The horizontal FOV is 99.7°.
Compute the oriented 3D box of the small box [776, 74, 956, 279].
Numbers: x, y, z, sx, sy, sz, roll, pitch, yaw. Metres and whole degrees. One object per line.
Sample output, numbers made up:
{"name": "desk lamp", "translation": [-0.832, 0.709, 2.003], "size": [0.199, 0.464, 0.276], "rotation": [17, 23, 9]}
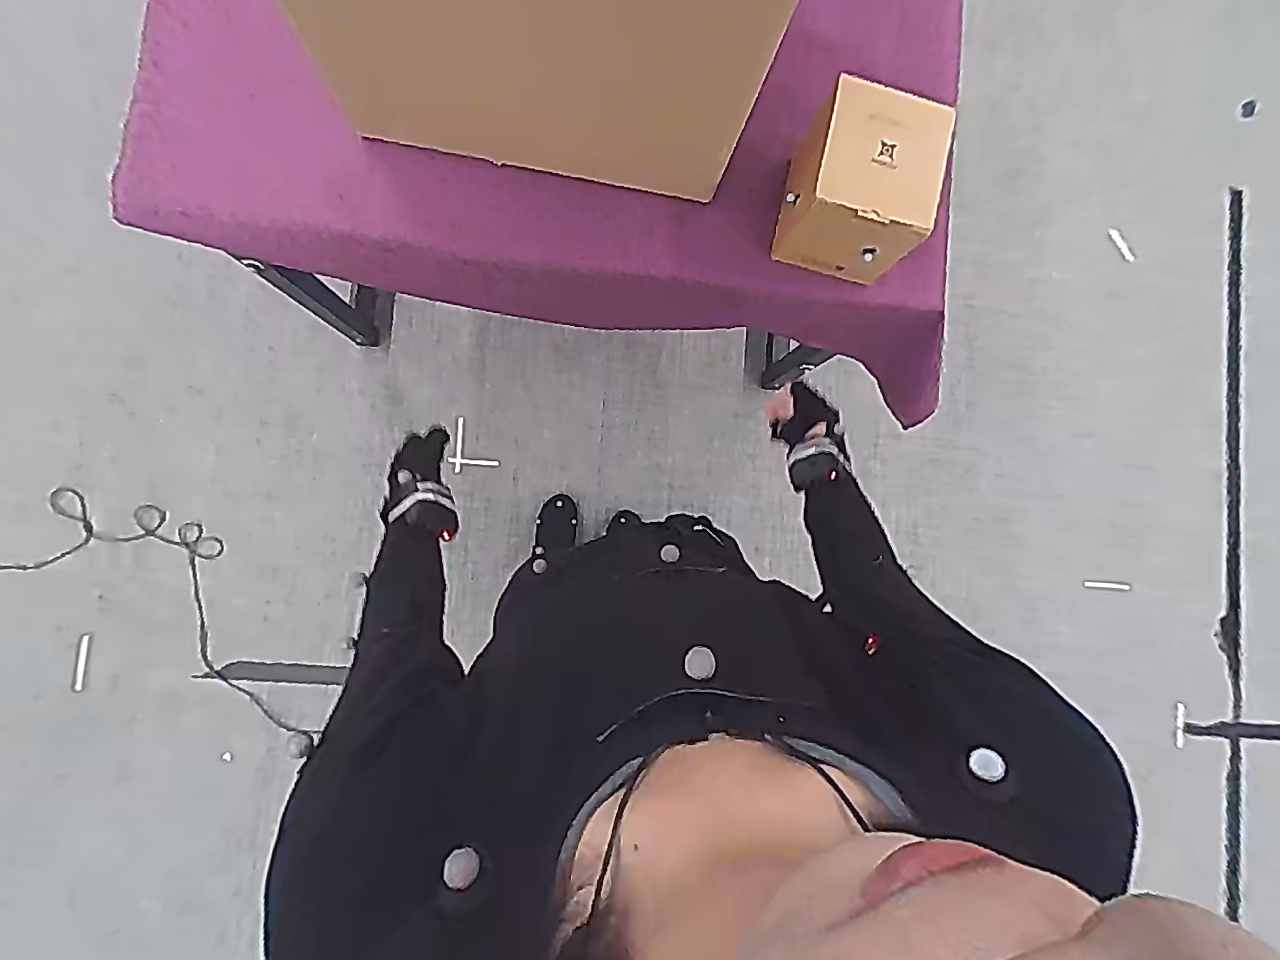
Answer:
{"name": "small box", "translation": [0.310, -0.416, 0.775], "size": [0.168, 0.176, 0.179], "rotation": [13, 84, -6]}
